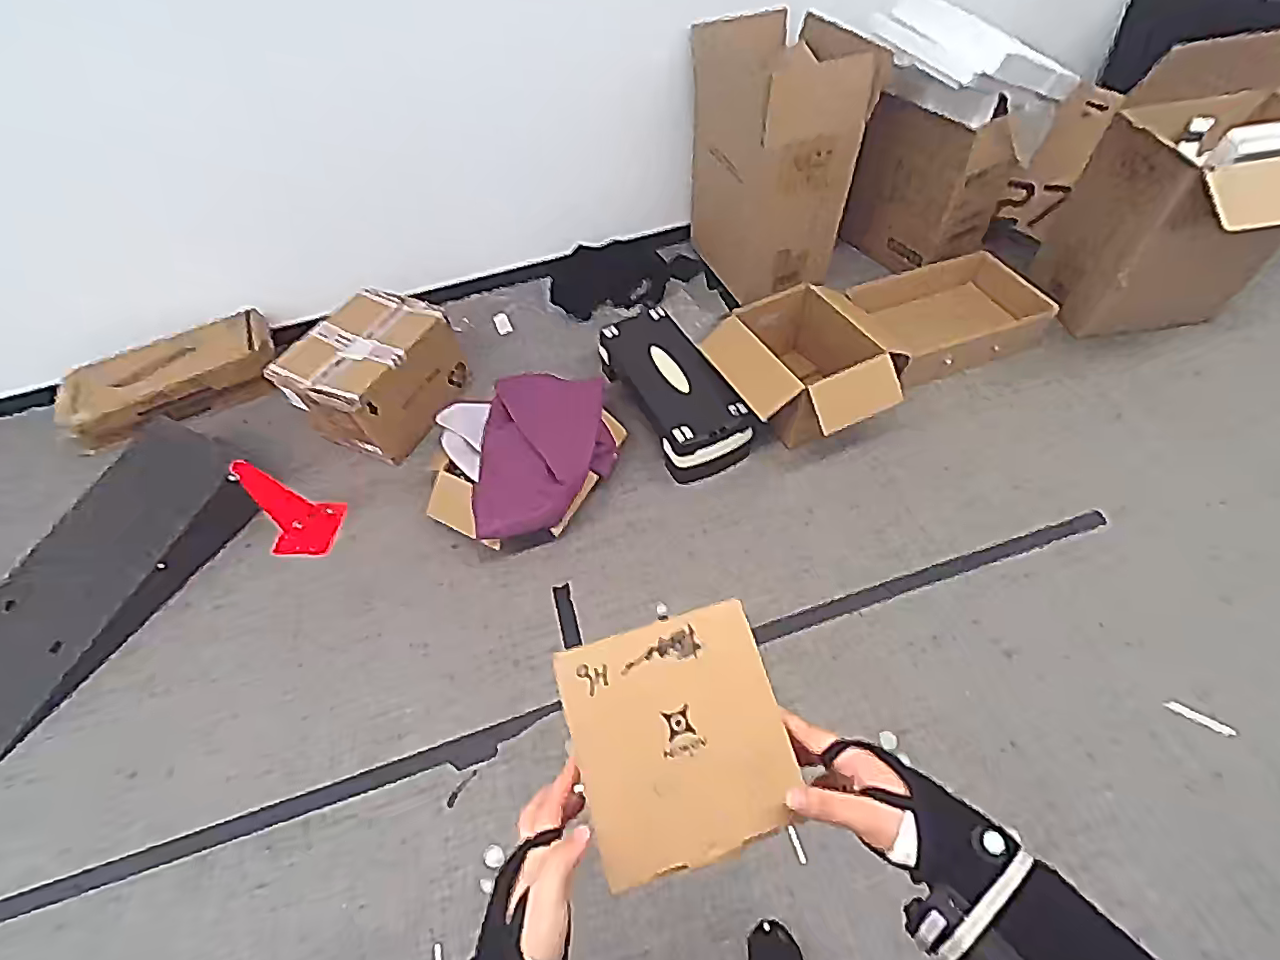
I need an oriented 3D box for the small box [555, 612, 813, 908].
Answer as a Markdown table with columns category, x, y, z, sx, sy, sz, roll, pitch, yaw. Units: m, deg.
| category | x | y | z | sx | sy | sz | roll | pitch | yaw |
| --- | --- | --- | --- | --- | --- | --- | --- | --- | --- |
| small box | 0.026 | 0.231 | 0.495 | 0.168 | 0.176 | 0.179 | -14 | 74 | -10 |
